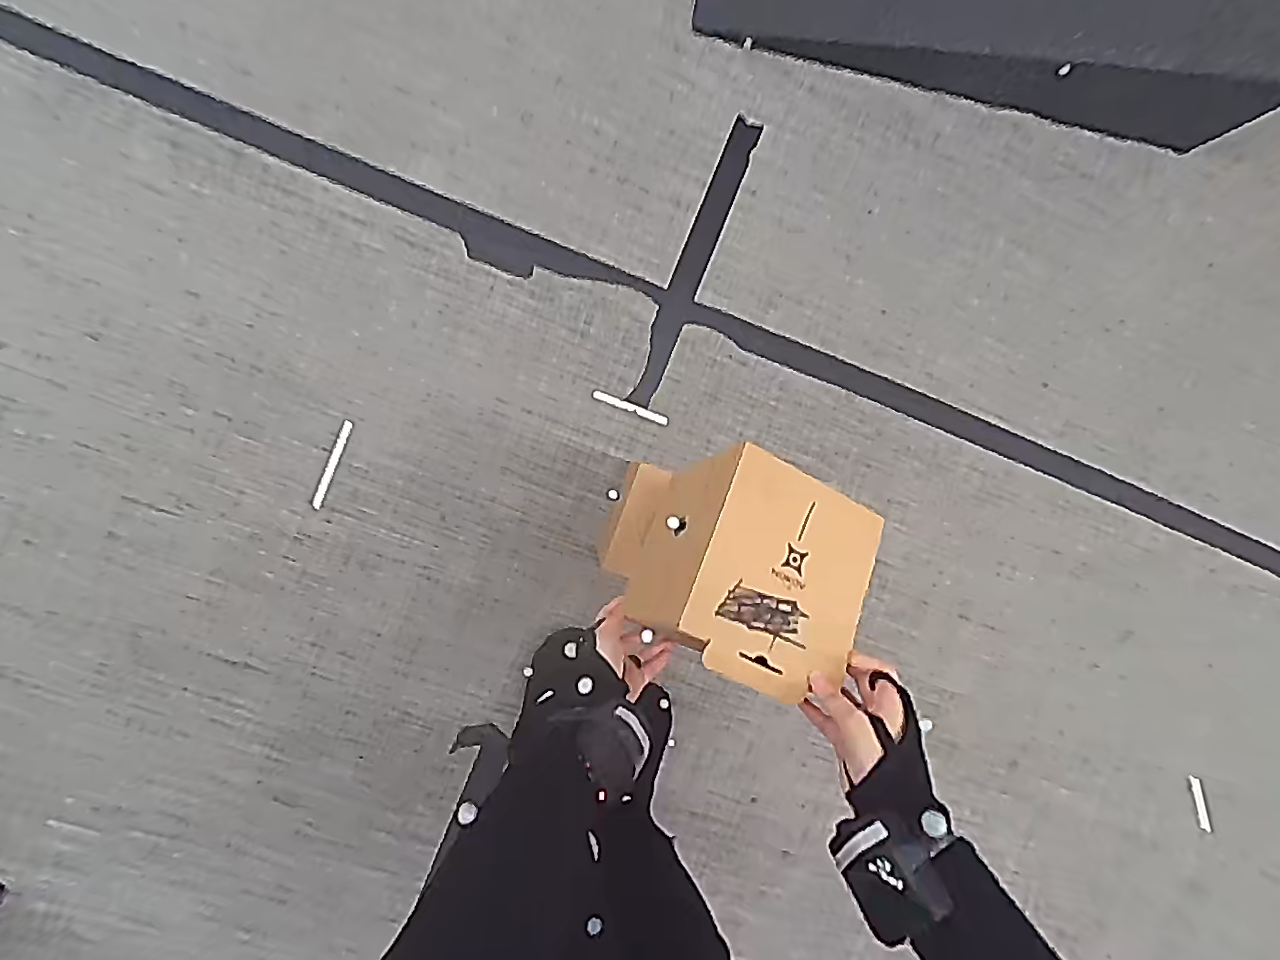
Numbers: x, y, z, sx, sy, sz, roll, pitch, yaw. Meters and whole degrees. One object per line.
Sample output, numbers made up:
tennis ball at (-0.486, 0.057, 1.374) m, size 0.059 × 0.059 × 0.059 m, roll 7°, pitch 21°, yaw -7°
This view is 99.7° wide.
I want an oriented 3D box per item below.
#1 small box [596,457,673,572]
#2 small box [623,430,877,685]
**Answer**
small box at (0.040, 0.065, 0.854) m, size 0.179 × 0.176 × 0.168 m, roll 21°, pitch 90°, yaw -8°
small box at (0.098, 0.080, 0.545) m, size 0.168 × 0.176 × 0.179 m, roll 27°, pitch 71°, yaw -14°
